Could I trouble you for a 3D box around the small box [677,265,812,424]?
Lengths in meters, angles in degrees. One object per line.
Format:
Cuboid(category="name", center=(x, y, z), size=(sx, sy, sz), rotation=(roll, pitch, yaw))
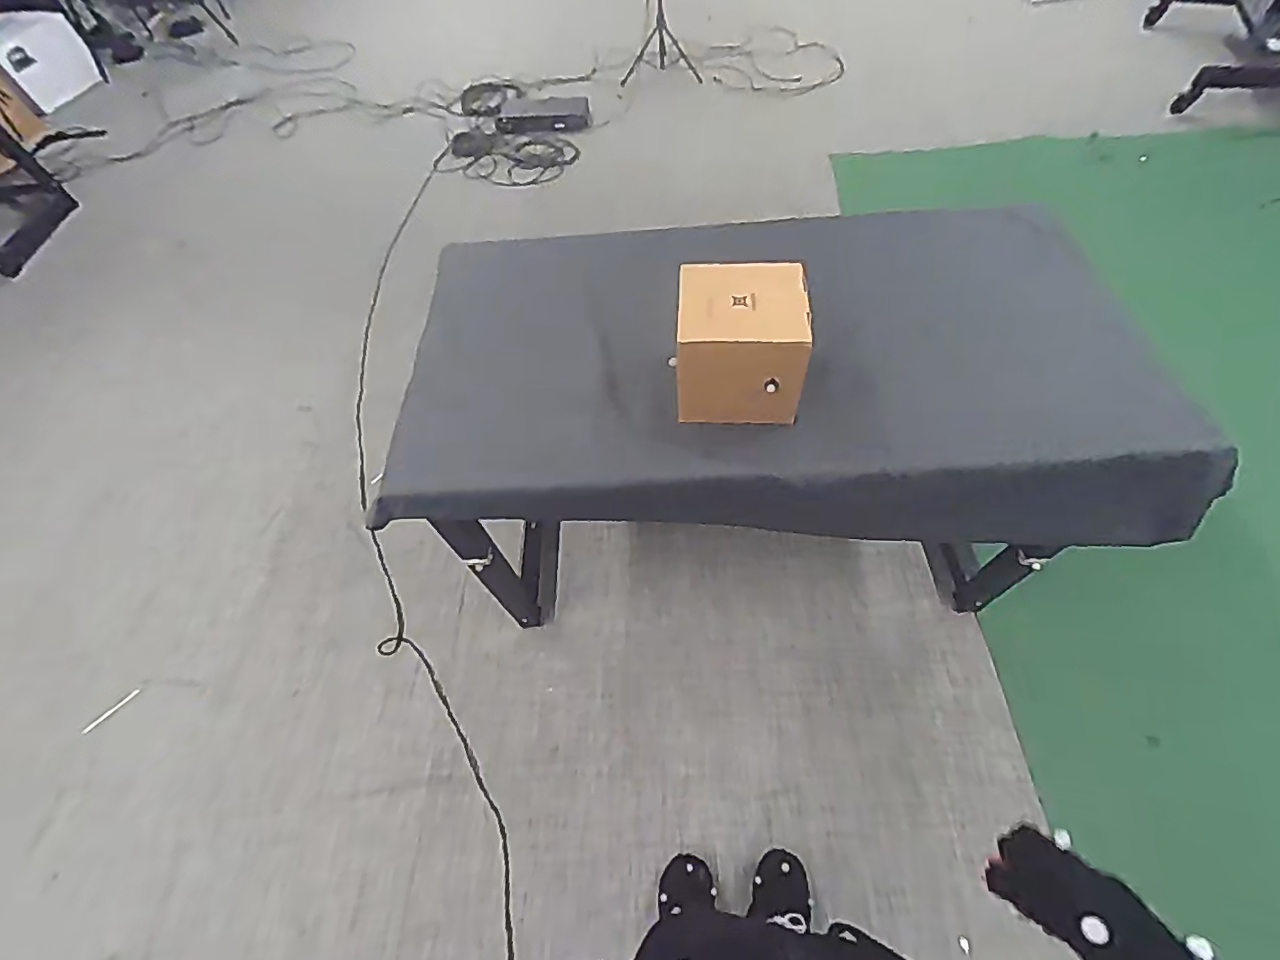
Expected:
Cuboid(category="small box", center=(0.147, -0.197, 0.809), size=(0.179, 0.176, 0.168), rotation=(0, 56, 7))
